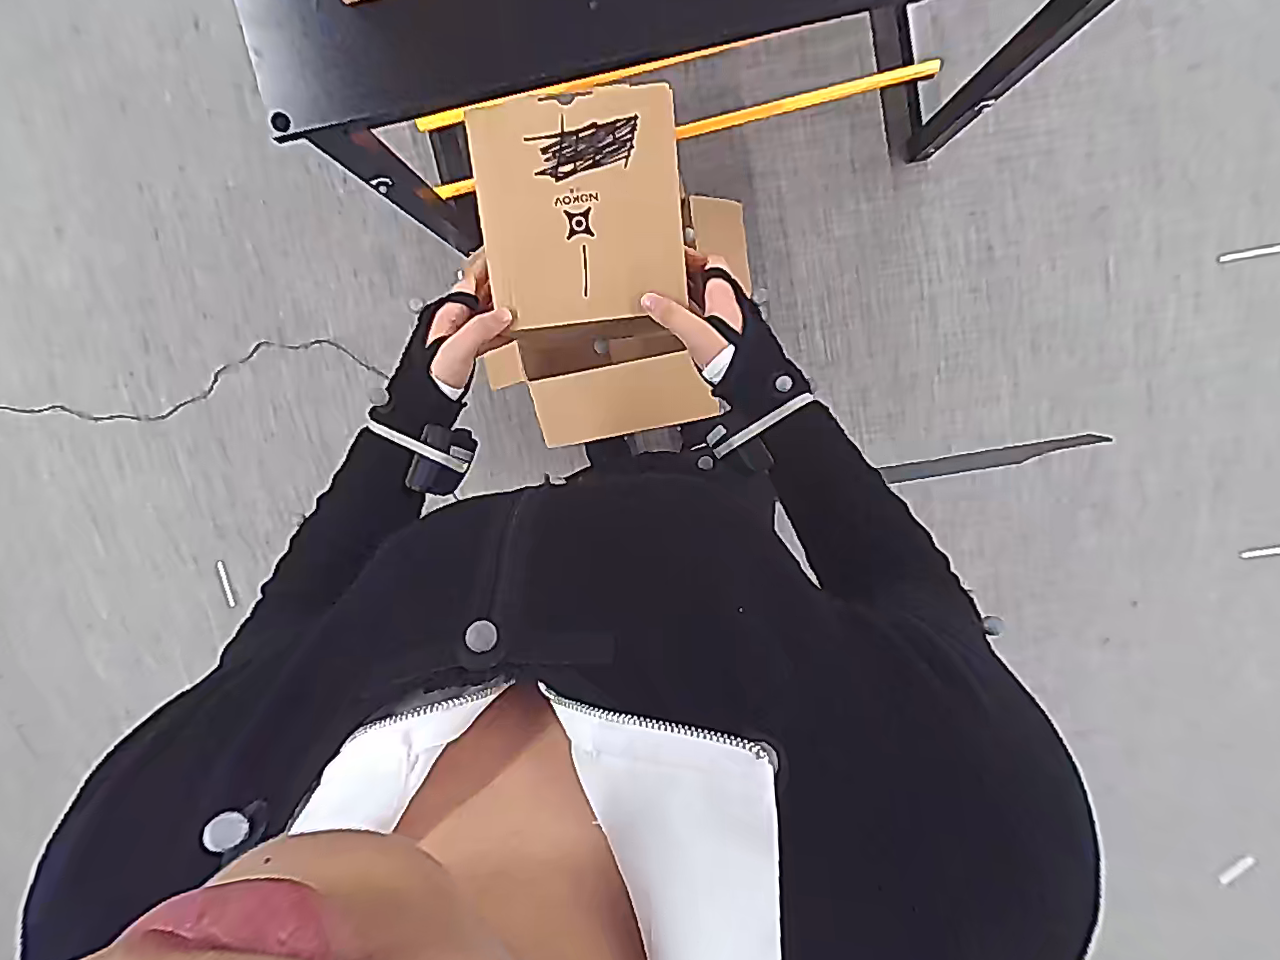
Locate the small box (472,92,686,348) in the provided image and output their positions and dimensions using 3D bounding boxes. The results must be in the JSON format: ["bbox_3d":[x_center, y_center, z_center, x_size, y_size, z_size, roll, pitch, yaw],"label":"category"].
[{"bbox_3d":[-0.047,-0.231,0.525,0.168,0.176,0.179,-5,99,3],"label":"small box"}]
